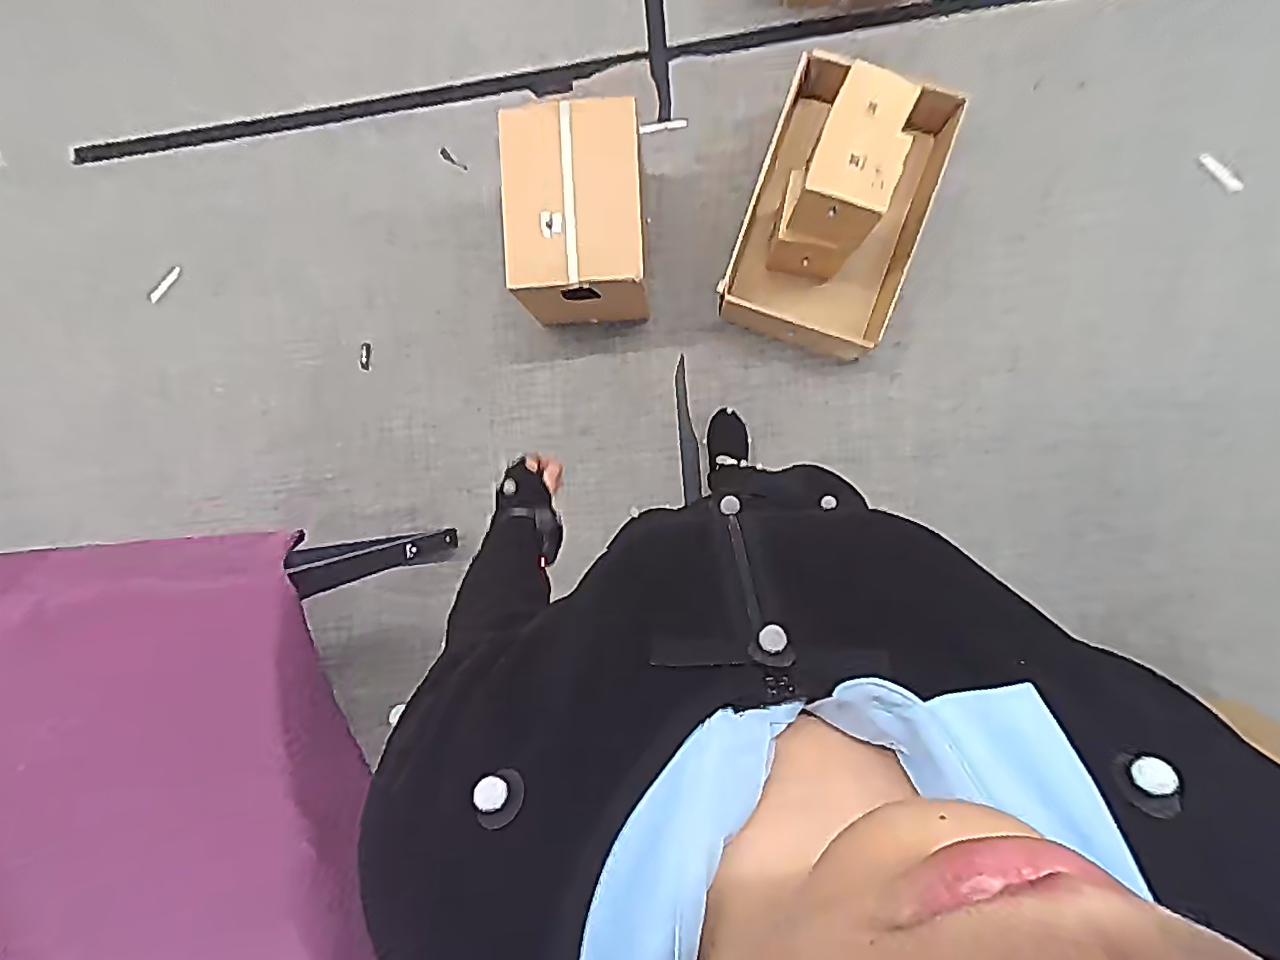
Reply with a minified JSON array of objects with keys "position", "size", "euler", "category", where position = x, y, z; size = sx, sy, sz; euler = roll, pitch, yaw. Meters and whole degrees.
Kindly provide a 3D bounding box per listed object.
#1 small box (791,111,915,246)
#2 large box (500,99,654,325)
[{"position":[0.442,-0.632,1.156],"size":[0.179,0.176,0.168],"euler":[20,90,3],"category":"small box"},{"position":[-0.135,-0.632,1.343],"size":[0.320,0.320,0.408],"euler":[-3,92,5],"category":"large box"}]
